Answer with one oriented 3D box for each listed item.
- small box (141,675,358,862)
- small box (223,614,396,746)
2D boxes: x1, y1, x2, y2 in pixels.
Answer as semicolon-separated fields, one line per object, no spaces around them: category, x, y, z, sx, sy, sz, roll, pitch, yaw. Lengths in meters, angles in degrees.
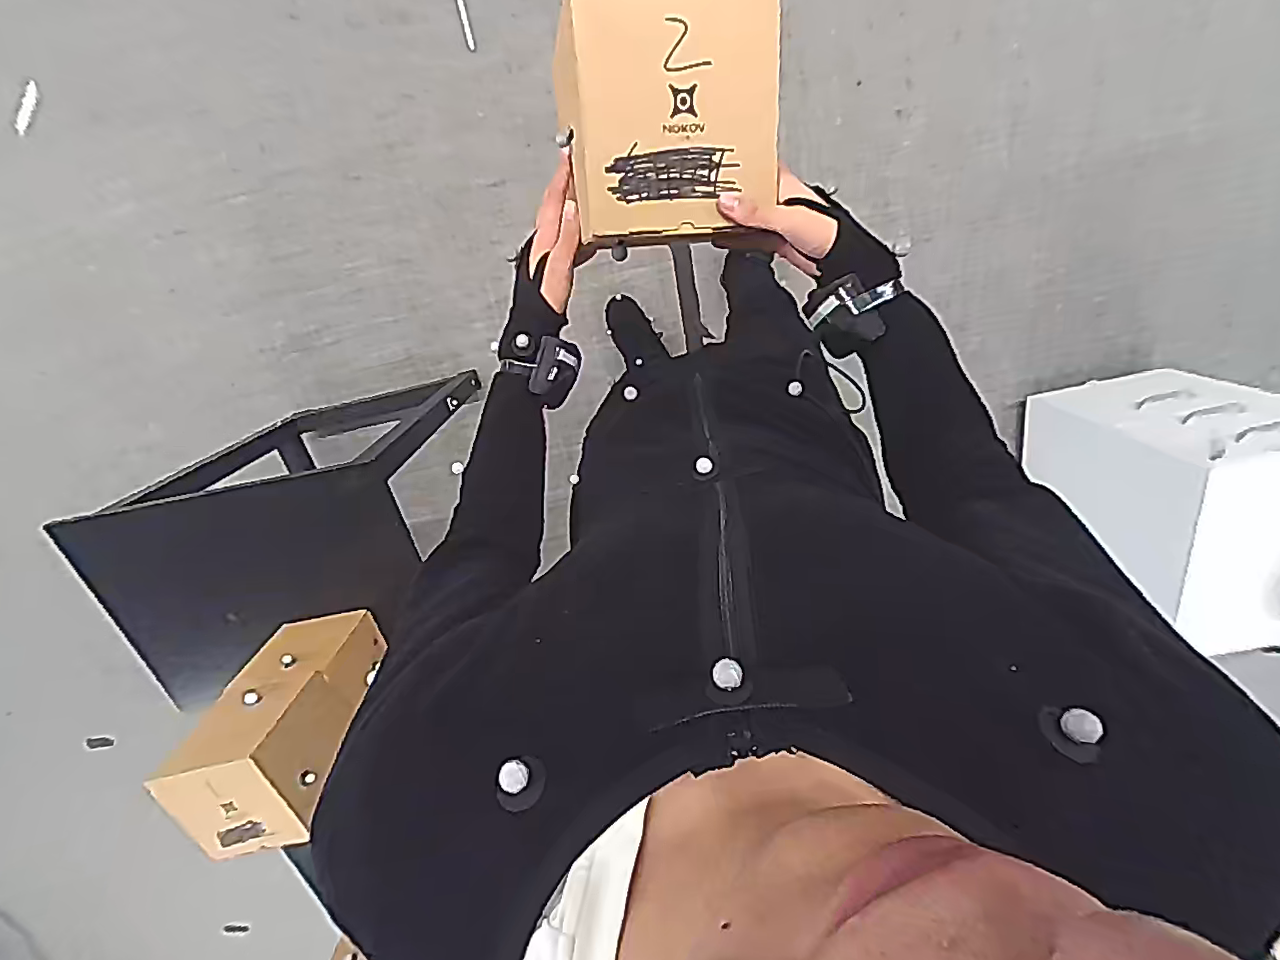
small box;-0.569;0.430;0.820;0.168;0.176;0.179;-15;112;5
small box;-0.577;0.366;0.971;0.179;0.176;0.168;-11;113;4
